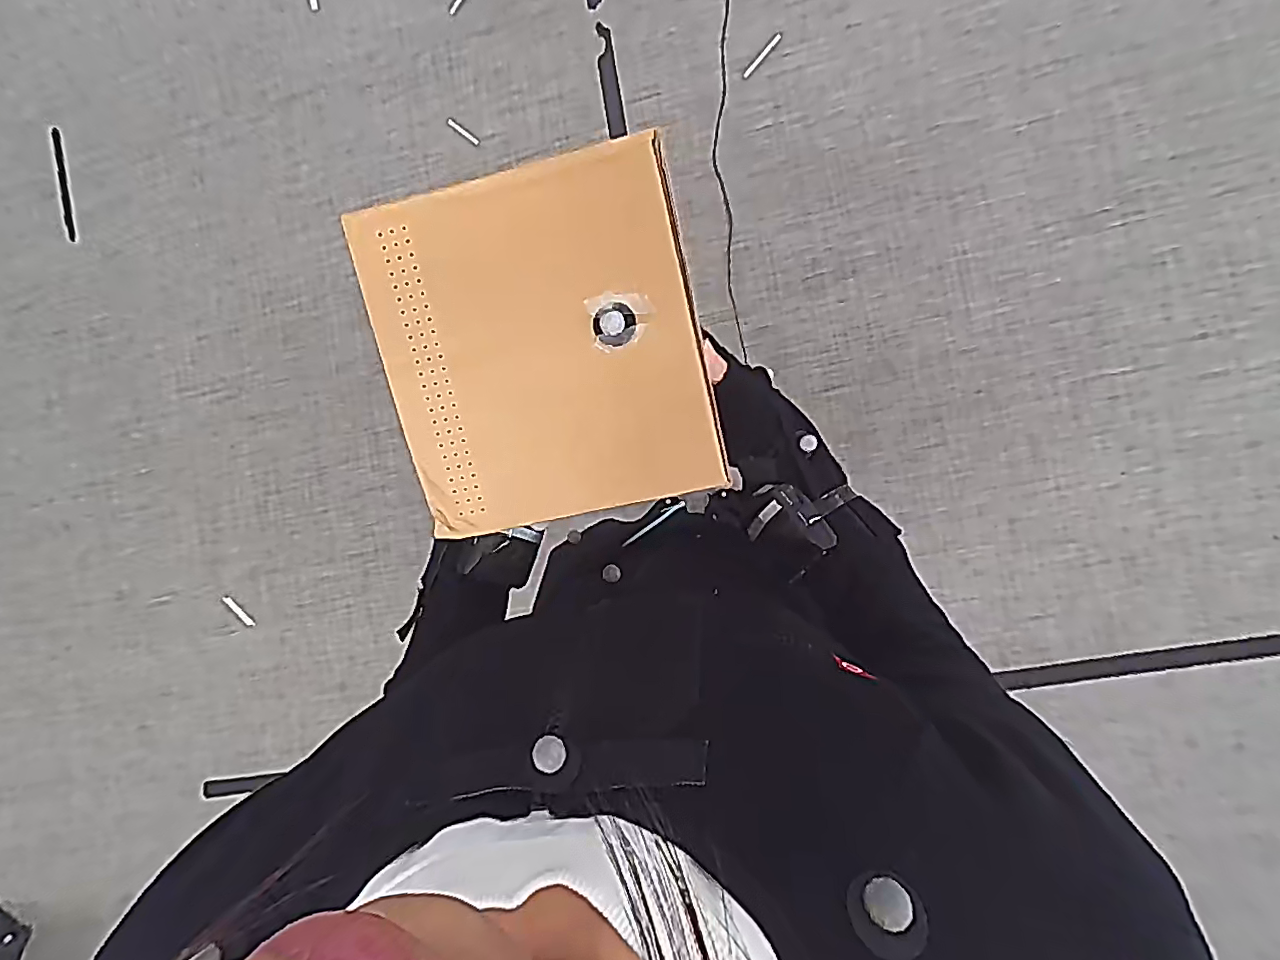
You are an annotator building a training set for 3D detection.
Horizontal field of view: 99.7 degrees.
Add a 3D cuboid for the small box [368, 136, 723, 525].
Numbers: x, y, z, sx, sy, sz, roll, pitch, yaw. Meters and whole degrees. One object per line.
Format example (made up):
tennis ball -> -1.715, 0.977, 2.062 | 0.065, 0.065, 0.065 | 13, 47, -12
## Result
small box -> -0.048, -0.085, 0.365 | 0.176, 0.168, 0.179 | -11, 99, 8
